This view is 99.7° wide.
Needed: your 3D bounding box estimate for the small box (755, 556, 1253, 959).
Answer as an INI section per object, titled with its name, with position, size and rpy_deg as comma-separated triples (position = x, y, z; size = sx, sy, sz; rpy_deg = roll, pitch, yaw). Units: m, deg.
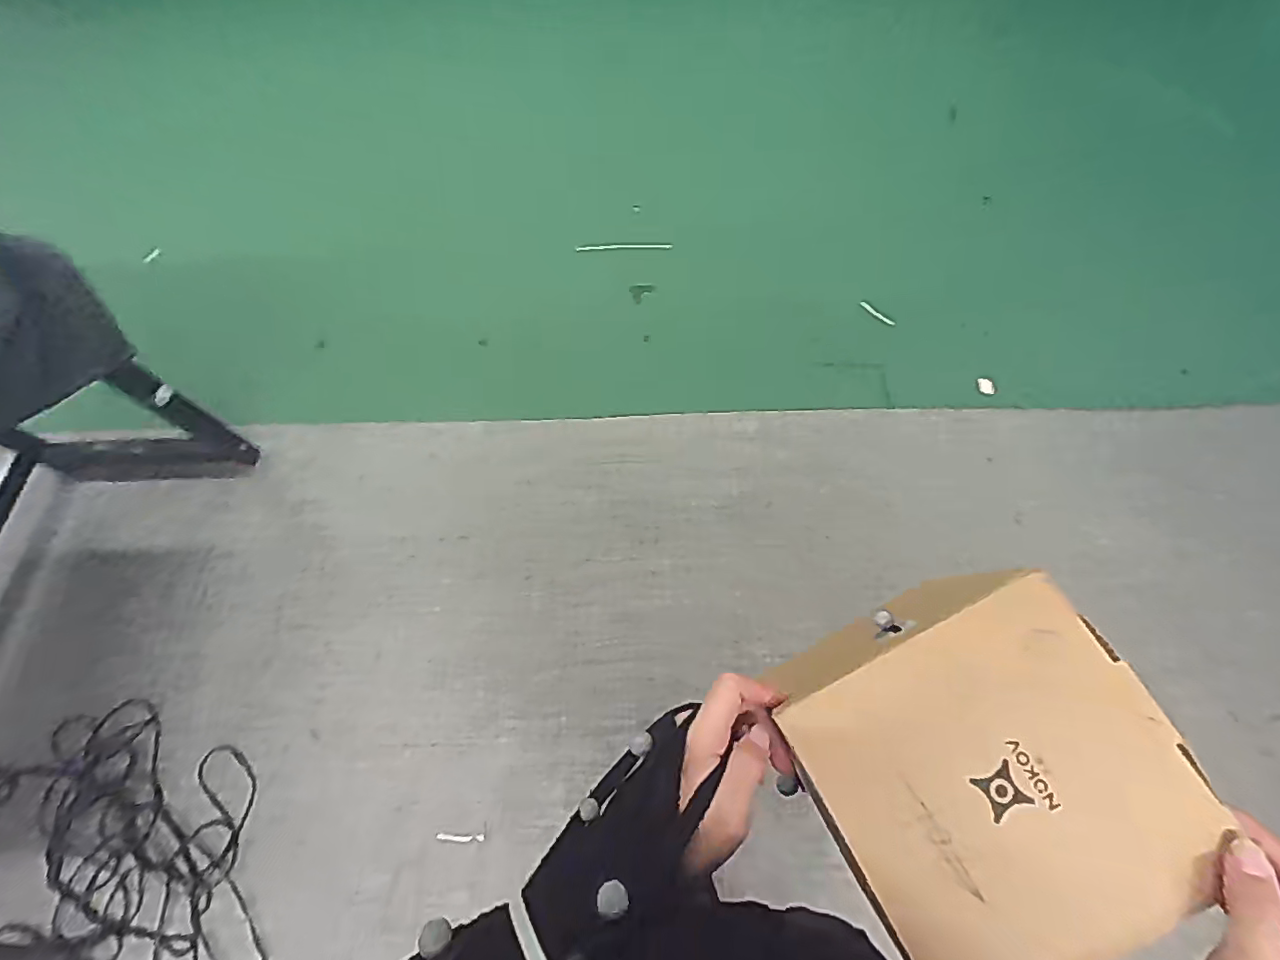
[small box]
position = 0.194, 0.169, 0.357
size = 0.179, 0.176, 0.168
rpy_deg = -30, 74, -2
